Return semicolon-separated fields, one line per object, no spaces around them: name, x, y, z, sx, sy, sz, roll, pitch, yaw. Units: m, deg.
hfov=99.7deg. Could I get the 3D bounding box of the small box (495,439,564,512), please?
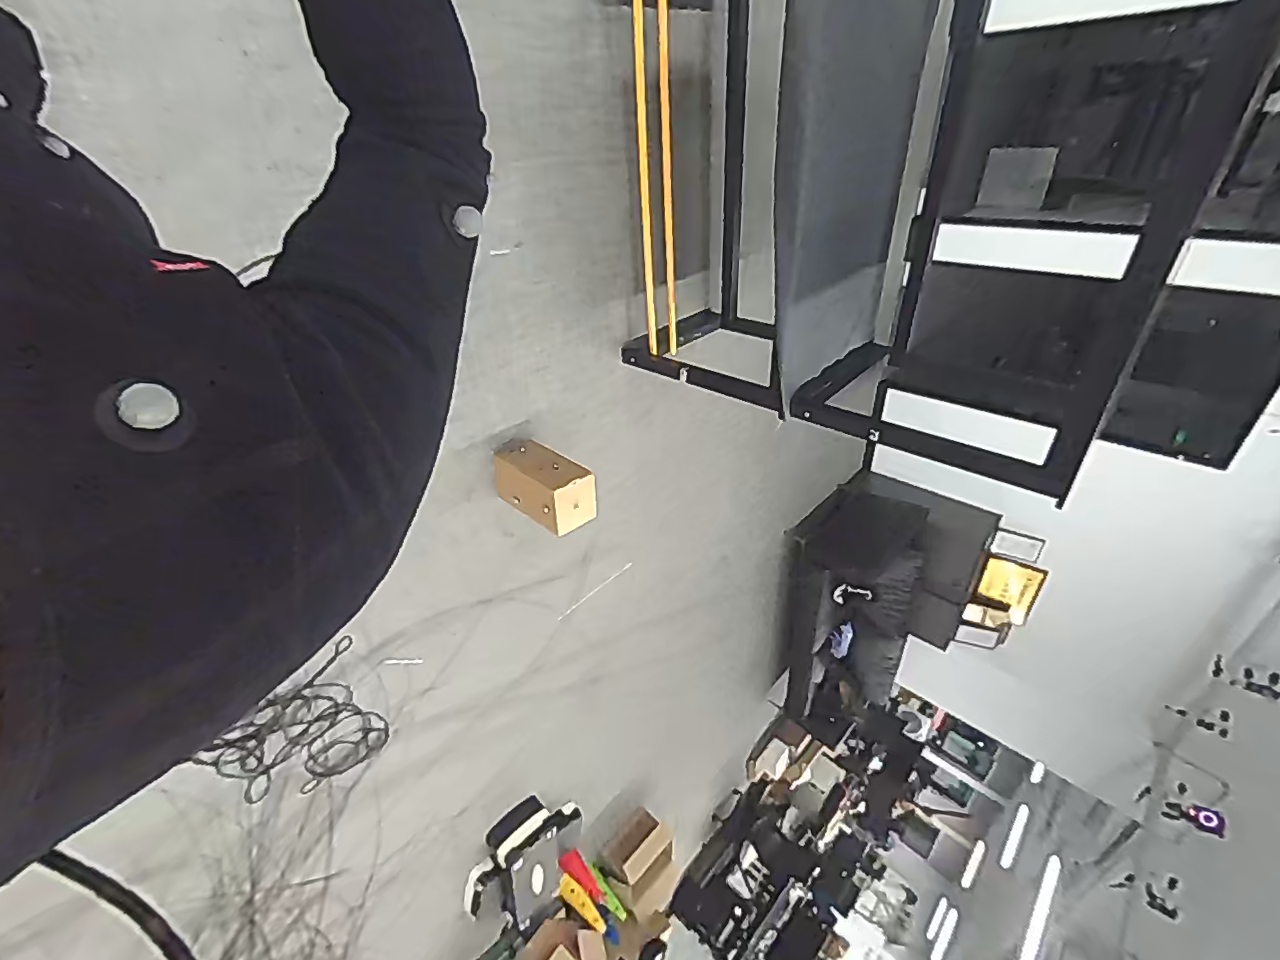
small box;-0.383;-0.022;1.881;0.168;0.176;0.179;-27;130;-39
